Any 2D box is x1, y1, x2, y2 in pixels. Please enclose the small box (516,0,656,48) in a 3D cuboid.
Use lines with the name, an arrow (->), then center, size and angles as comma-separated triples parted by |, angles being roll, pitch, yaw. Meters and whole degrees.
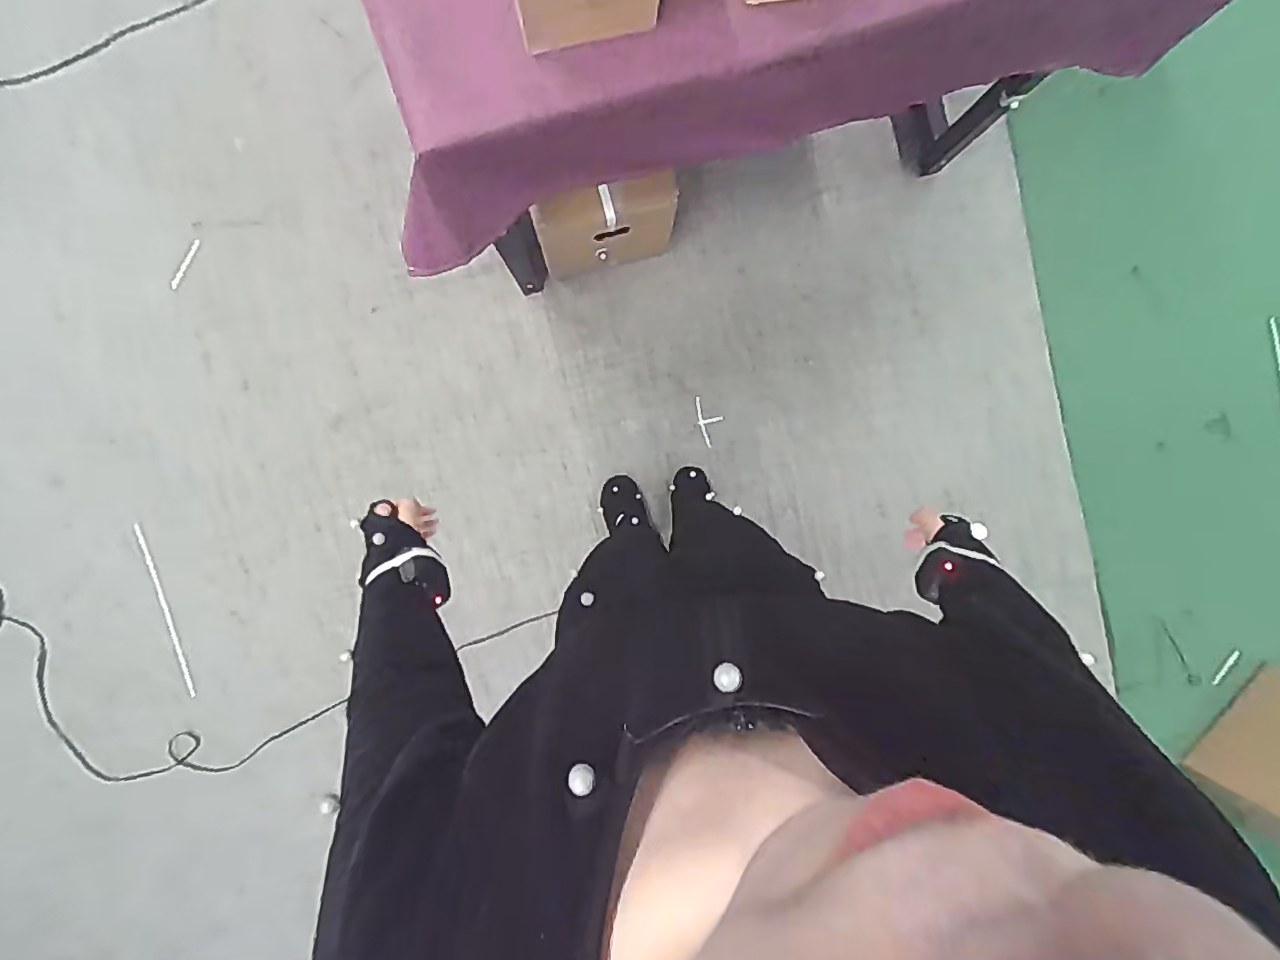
small box -> -0.077, -0.653, 0.628 | 0.179, 0.176, 0.168 | -13, 94, -1
